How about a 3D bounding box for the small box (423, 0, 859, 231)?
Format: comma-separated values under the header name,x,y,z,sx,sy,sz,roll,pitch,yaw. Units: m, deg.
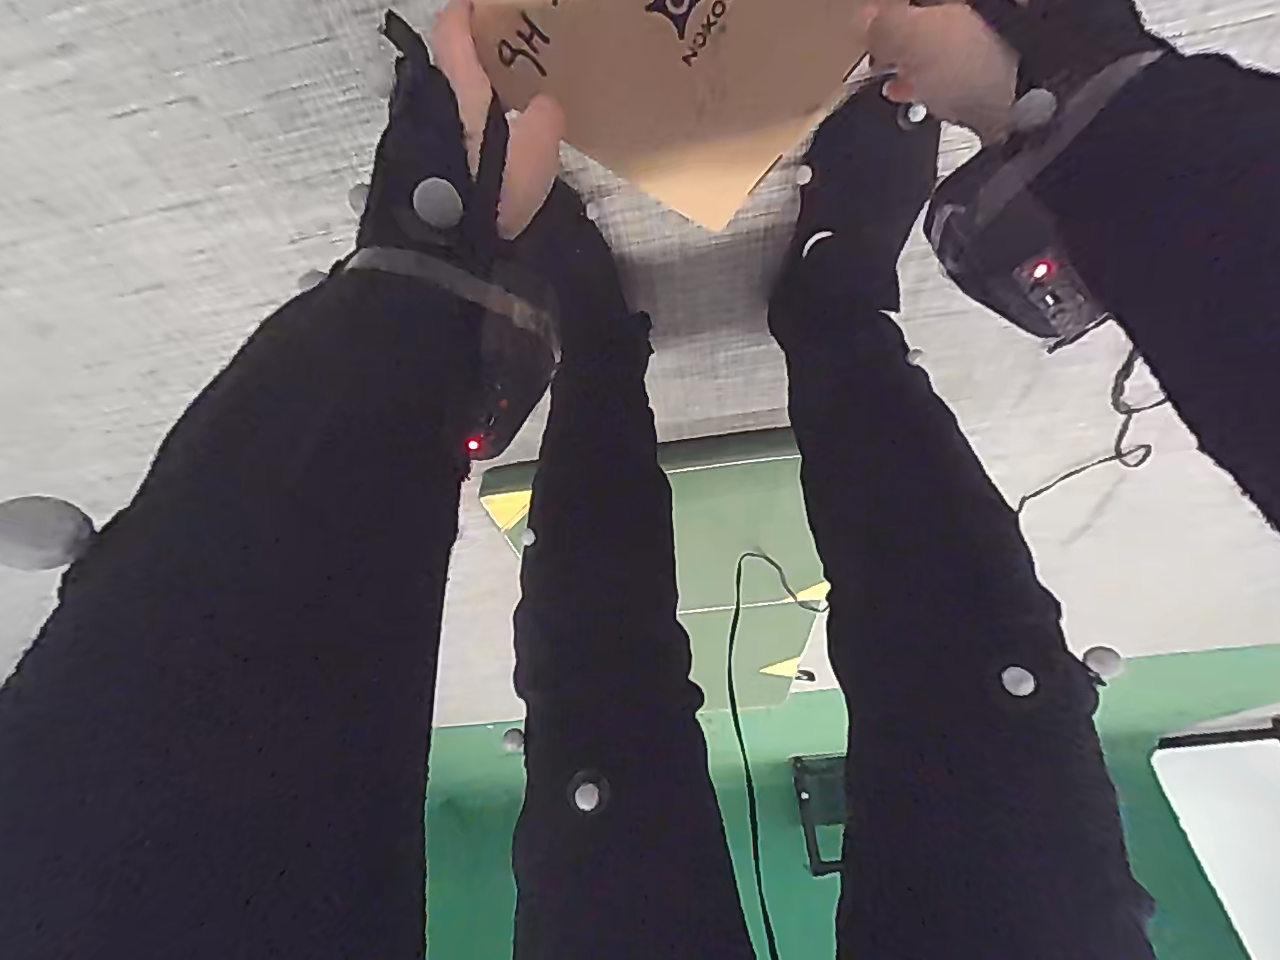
name,x,y,z,sx,sy,sz,roll,pitch,yaw
small box,-0.008,-0.297,0.318,0.179,0.176,0.168,16,140,-31
